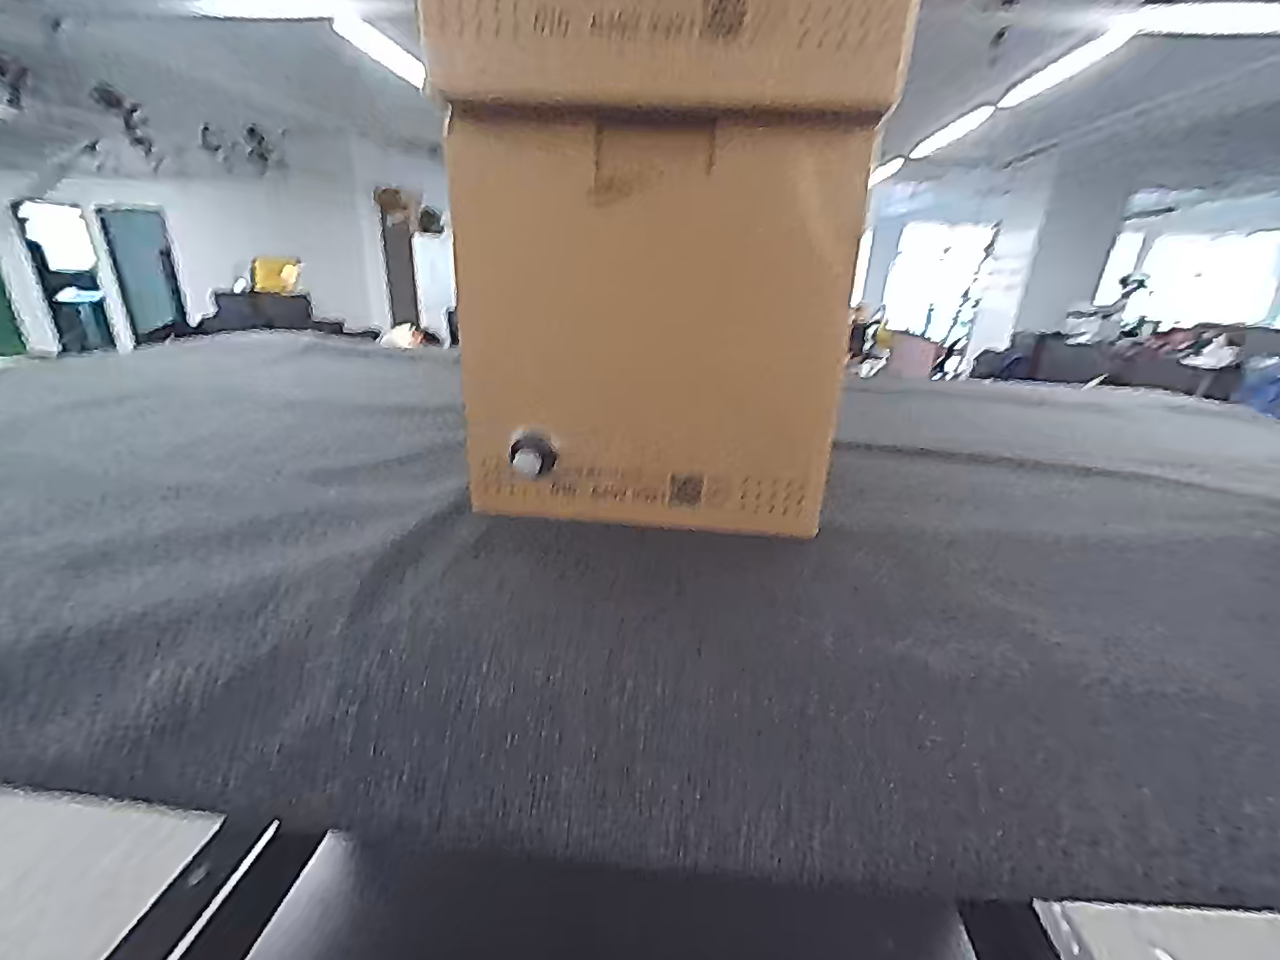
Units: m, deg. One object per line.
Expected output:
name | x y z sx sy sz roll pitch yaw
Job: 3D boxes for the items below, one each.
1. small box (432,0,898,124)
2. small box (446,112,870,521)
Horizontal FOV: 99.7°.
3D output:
small box | 0.014 -0.234 0.239 0.168 0.176 0.179 5 19 2
small box | 0.011 -0.085 0.307 0.168 0.176 0.179 4 19 4
